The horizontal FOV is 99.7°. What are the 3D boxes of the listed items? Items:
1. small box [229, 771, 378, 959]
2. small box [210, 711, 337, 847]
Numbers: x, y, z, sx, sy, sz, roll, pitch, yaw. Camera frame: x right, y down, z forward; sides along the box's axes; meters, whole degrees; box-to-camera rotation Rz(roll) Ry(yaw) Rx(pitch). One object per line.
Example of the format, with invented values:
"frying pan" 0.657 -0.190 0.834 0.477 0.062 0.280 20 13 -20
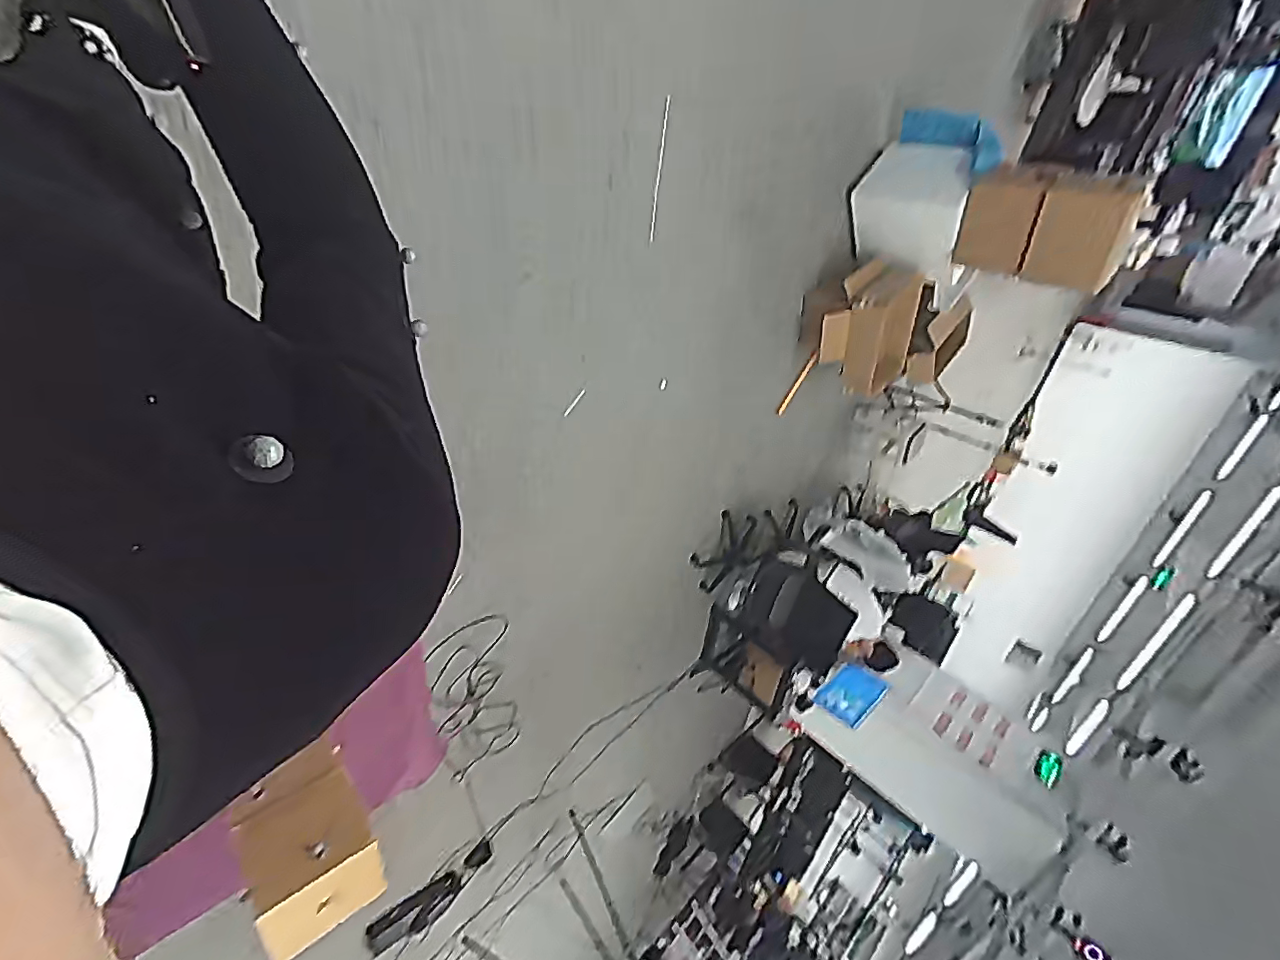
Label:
"small box" -0.577 0.651 0.926 0.179 0.176 0.168 -19 128 -41
"small box" -0.686 0.584 1.024 0.179 0.176 0.168 -18 129 -40
